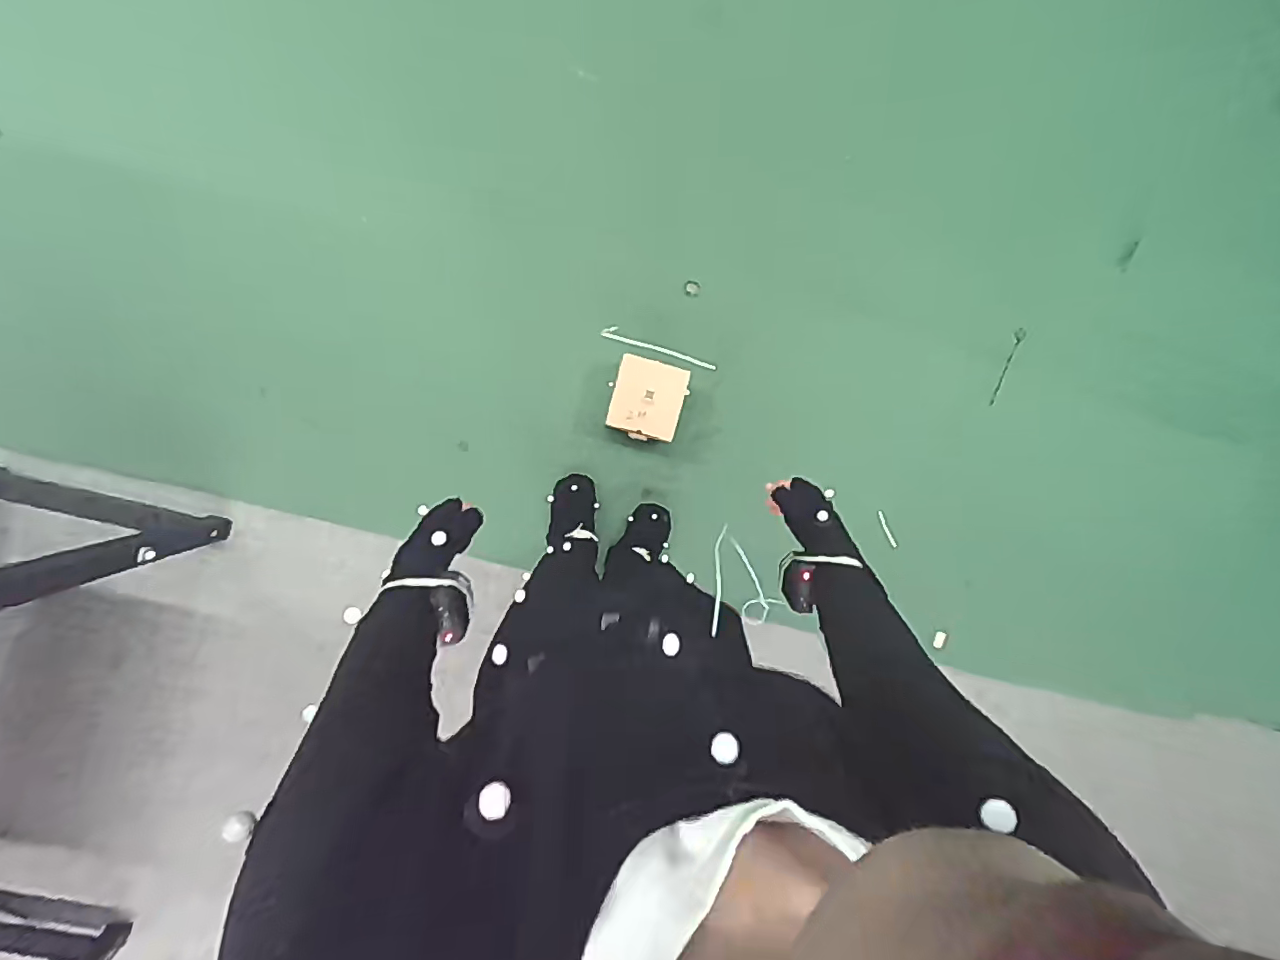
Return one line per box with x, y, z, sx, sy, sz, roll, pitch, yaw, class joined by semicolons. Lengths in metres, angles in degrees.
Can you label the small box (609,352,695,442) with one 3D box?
0.022;-0.200;1.344;0.168;0.176;0.179;15;93;-6;small box
